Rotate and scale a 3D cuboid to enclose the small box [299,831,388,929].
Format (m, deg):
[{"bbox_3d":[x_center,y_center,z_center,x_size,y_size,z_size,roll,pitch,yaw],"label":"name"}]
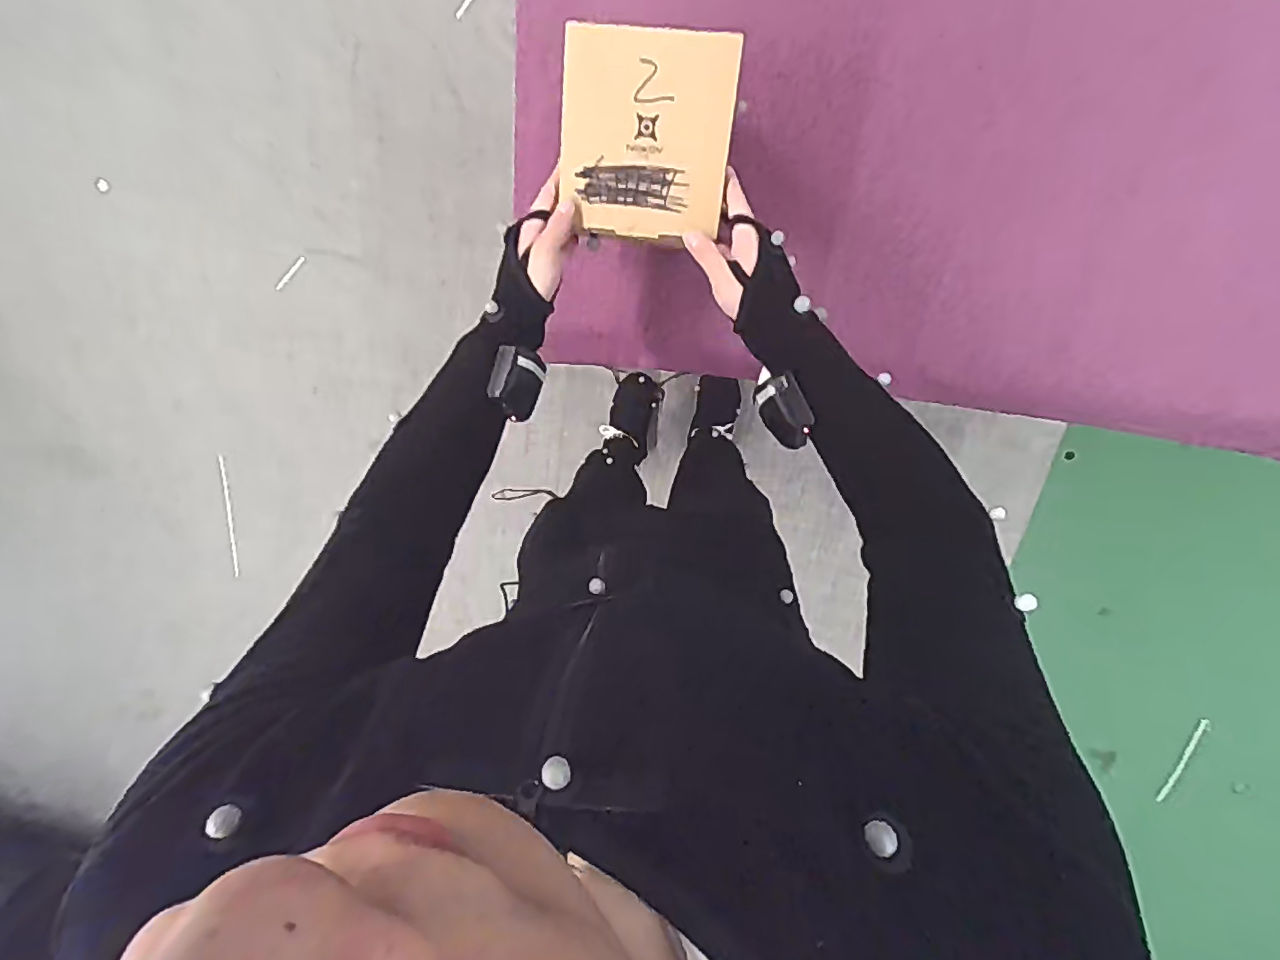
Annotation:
[{"bbox_3d":[-0.967,1.310,1.783,0.168,0.176,0.179,36,108,-3],"label":"small box"}]
